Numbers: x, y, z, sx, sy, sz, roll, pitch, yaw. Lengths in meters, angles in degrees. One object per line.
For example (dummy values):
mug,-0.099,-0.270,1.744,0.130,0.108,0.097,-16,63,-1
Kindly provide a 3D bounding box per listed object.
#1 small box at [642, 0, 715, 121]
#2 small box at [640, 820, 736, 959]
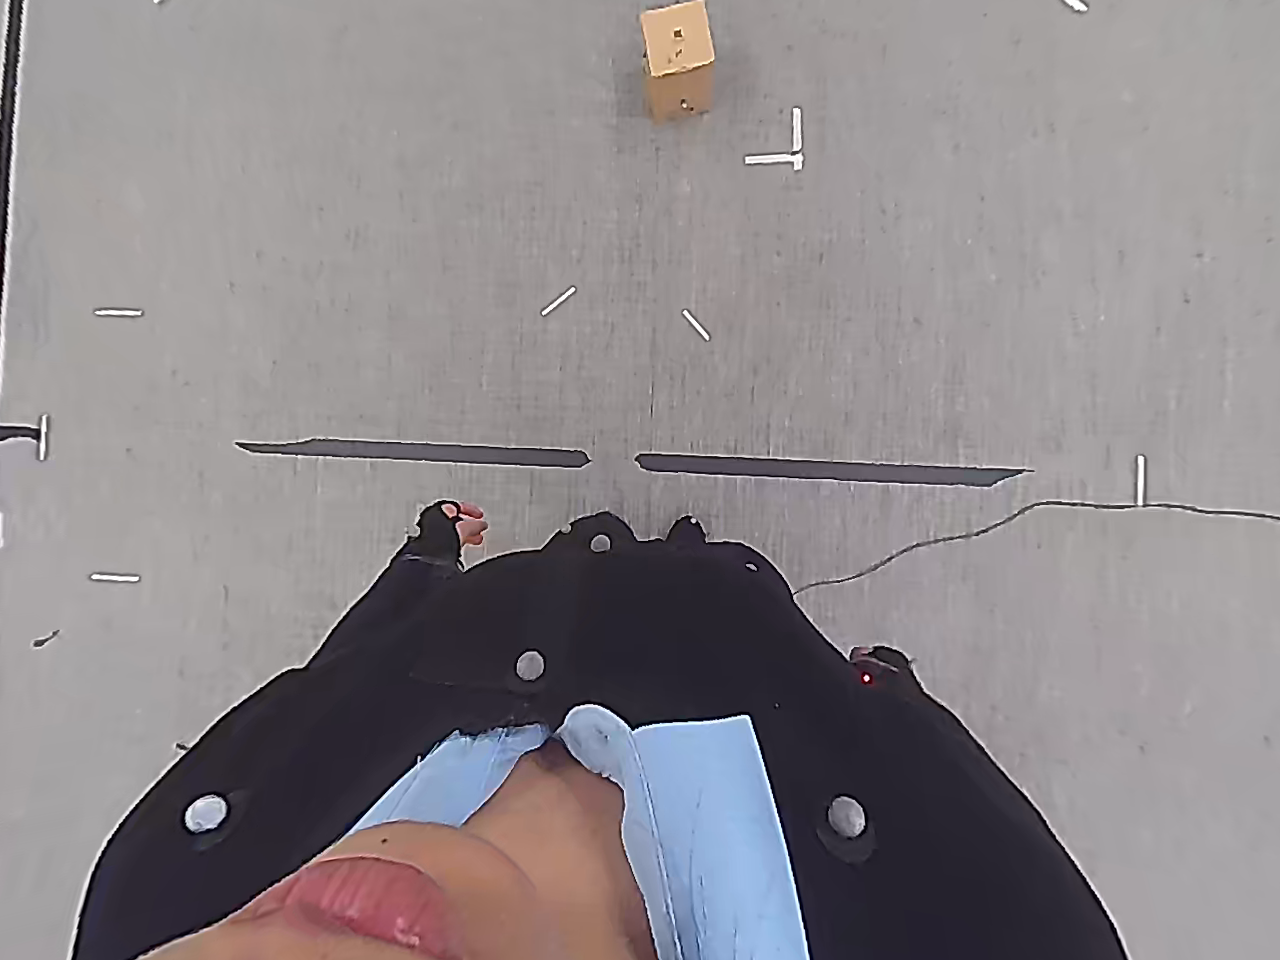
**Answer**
small box,0.101,-1.111,1.444,0.168,0.176,0.179,-10,88,5
small box,0.091,0.791,1.029,0.168,0.176,0.179,2,87,4
